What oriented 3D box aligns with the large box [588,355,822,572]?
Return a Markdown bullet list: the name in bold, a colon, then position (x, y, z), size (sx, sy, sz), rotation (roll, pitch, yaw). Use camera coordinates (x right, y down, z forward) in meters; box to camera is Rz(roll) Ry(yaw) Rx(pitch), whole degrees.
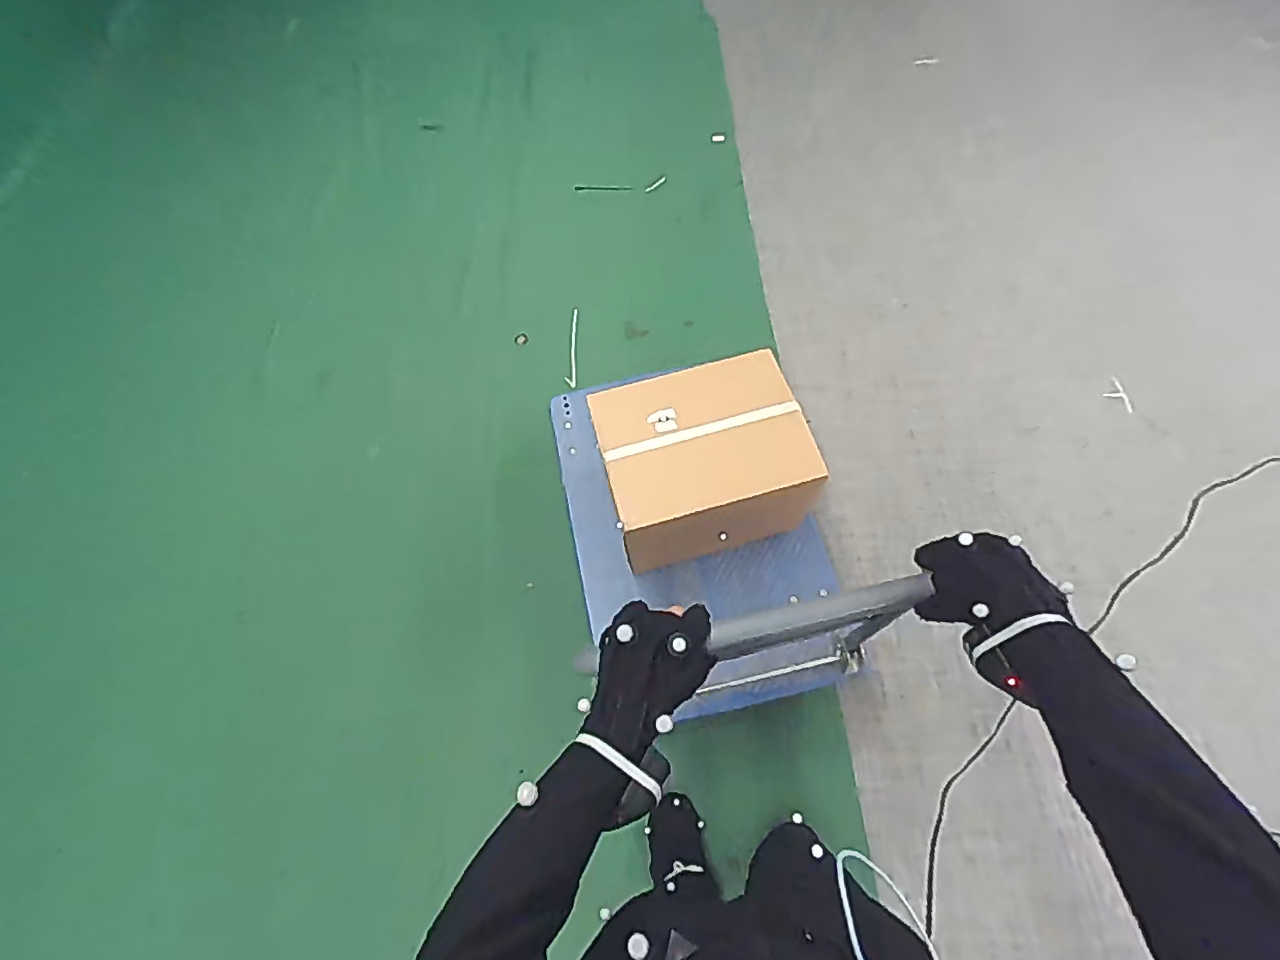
- **large box**: position (0.131, -0.022, 1.220), size (0.408, 0.320, 0.320), rotation (-16, 65, -3)
